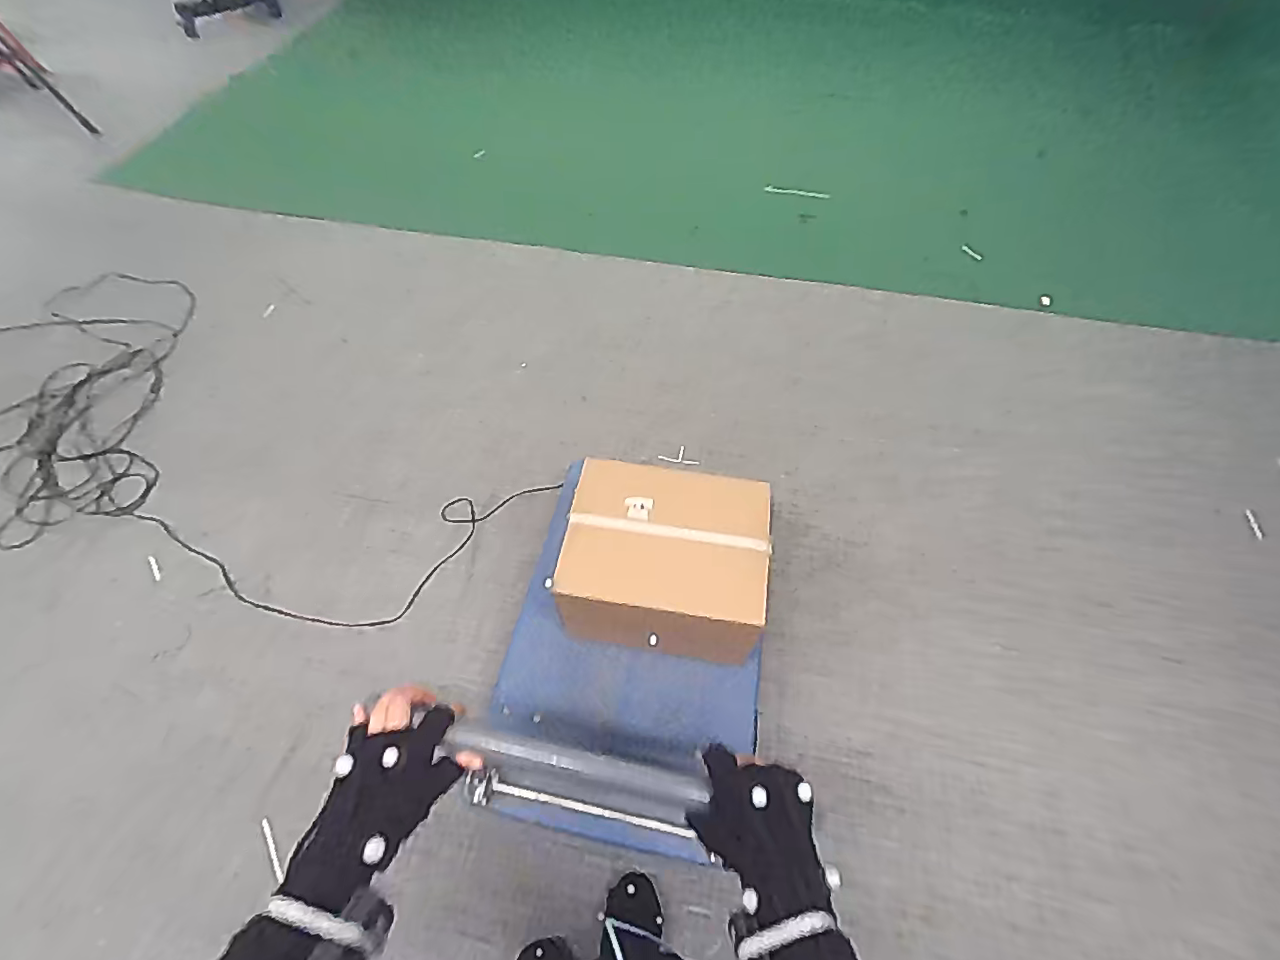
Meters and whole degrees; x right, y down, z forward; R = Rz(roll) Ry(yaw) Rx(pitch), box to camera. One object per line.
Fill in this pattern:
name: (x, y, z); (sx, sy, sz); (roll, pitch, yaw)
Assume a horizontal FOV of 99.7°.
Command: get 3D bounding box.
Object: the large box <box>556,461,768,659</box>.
large box: (0.059, 0.189, 1.217); (0.408, 0.320, 0.320); (8, 57, 5)
